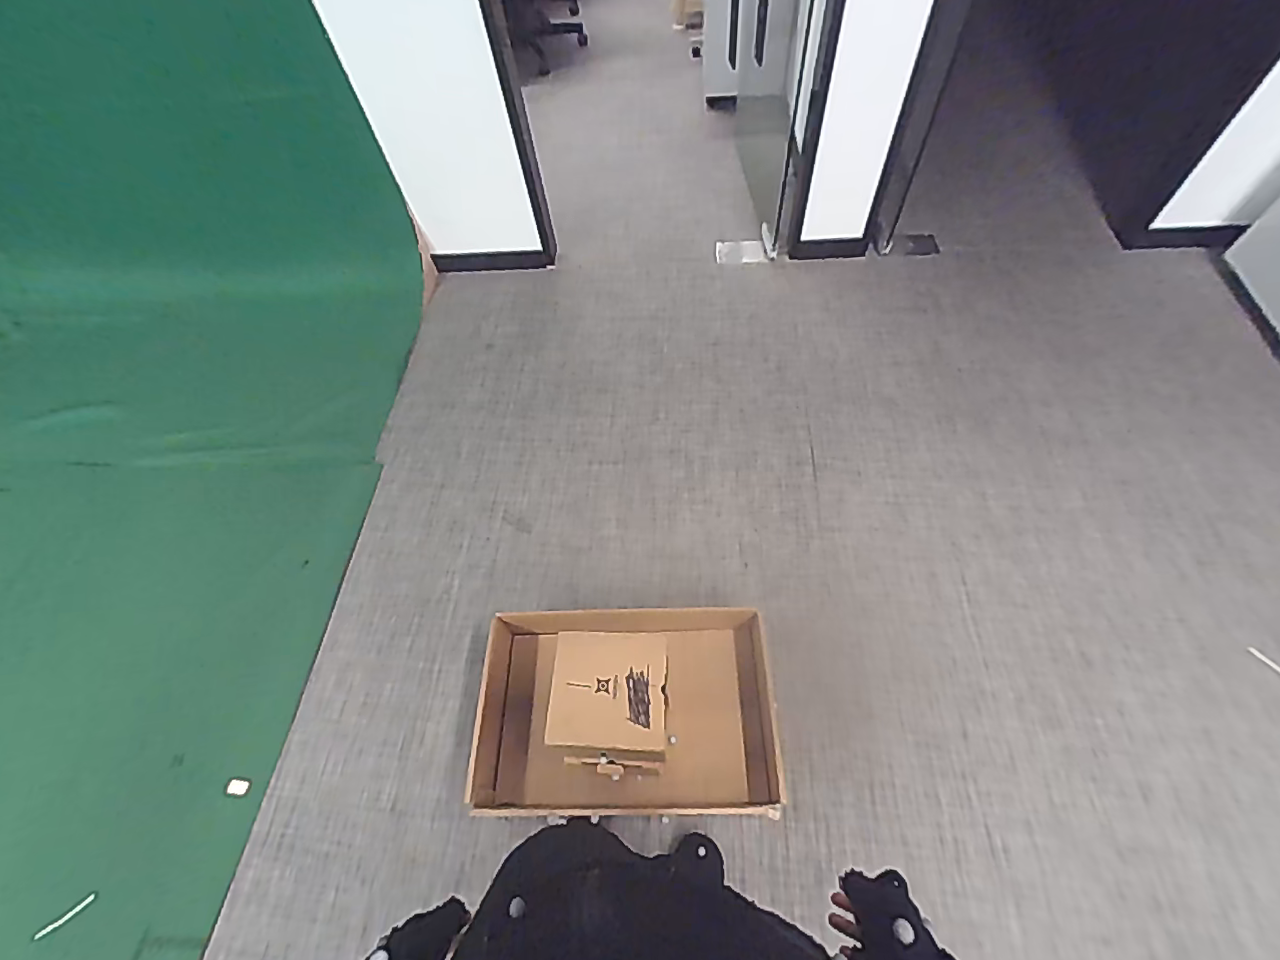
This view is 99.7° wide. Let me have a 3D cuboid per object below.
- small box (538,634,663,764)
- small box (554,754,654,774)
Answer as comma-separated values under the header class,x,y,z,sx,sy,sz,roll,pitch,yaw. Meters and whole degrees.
class,x,y,z,sx,sy,sz,roll,pitch,yaw
small box,-0.053,0.363,0.889,0.179,0.176,0.168,2,57,5
small box,-0.054,0.446,1.012,0.168,0.176,0.179,2,58,4
